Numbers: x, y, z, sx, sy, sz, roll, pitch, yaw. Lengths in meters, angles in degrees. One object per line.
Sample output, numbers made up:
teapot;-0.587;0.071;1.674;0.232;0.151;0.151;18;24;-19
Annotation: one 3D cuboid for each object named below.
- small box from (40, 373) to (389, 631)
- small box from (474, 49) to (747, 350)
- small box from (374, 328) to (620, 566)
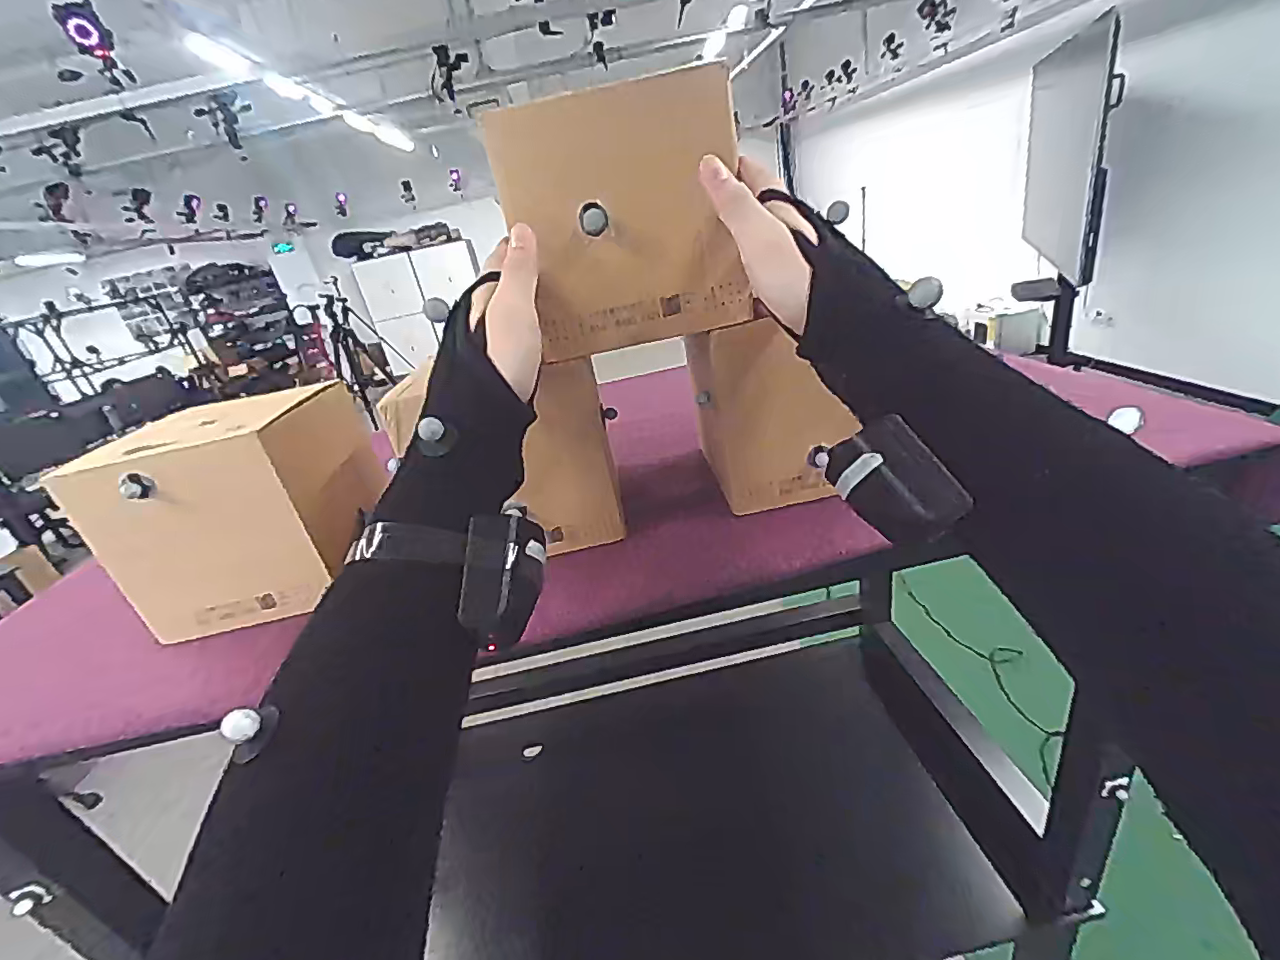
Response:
small box;-0.365;0.012;0.513;0.168;0.176;0.179;-13;24;-1
small box;-0.016;-0.214;0.449;0.168;0.176;0.179;-12;25;2
small box;-0.117;-0.042;0.519;0.168;0.176;0.179;-12;26;-1
